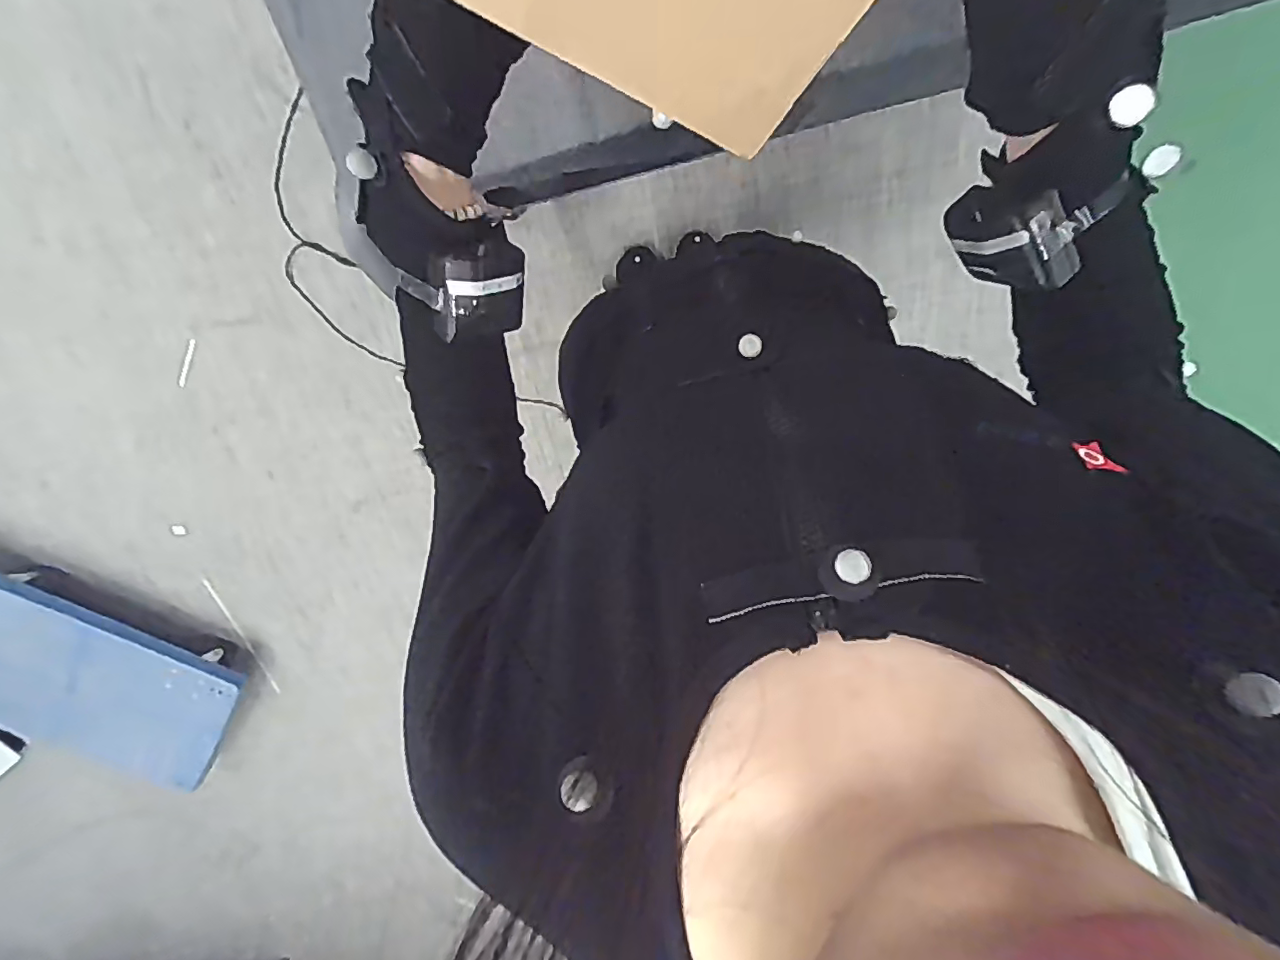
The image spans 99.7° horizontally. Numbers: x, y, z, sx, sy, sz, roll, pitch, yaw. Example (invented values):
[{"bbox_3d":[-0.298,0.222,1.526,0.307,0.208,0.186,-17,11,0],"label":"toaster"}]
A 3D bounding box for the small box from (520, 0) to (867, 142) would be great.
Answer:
[{"bbox_3d":[0.009,-0.275,0.193,0.168,0.179,0.176,-43,68,40],"label":"small box"}]
